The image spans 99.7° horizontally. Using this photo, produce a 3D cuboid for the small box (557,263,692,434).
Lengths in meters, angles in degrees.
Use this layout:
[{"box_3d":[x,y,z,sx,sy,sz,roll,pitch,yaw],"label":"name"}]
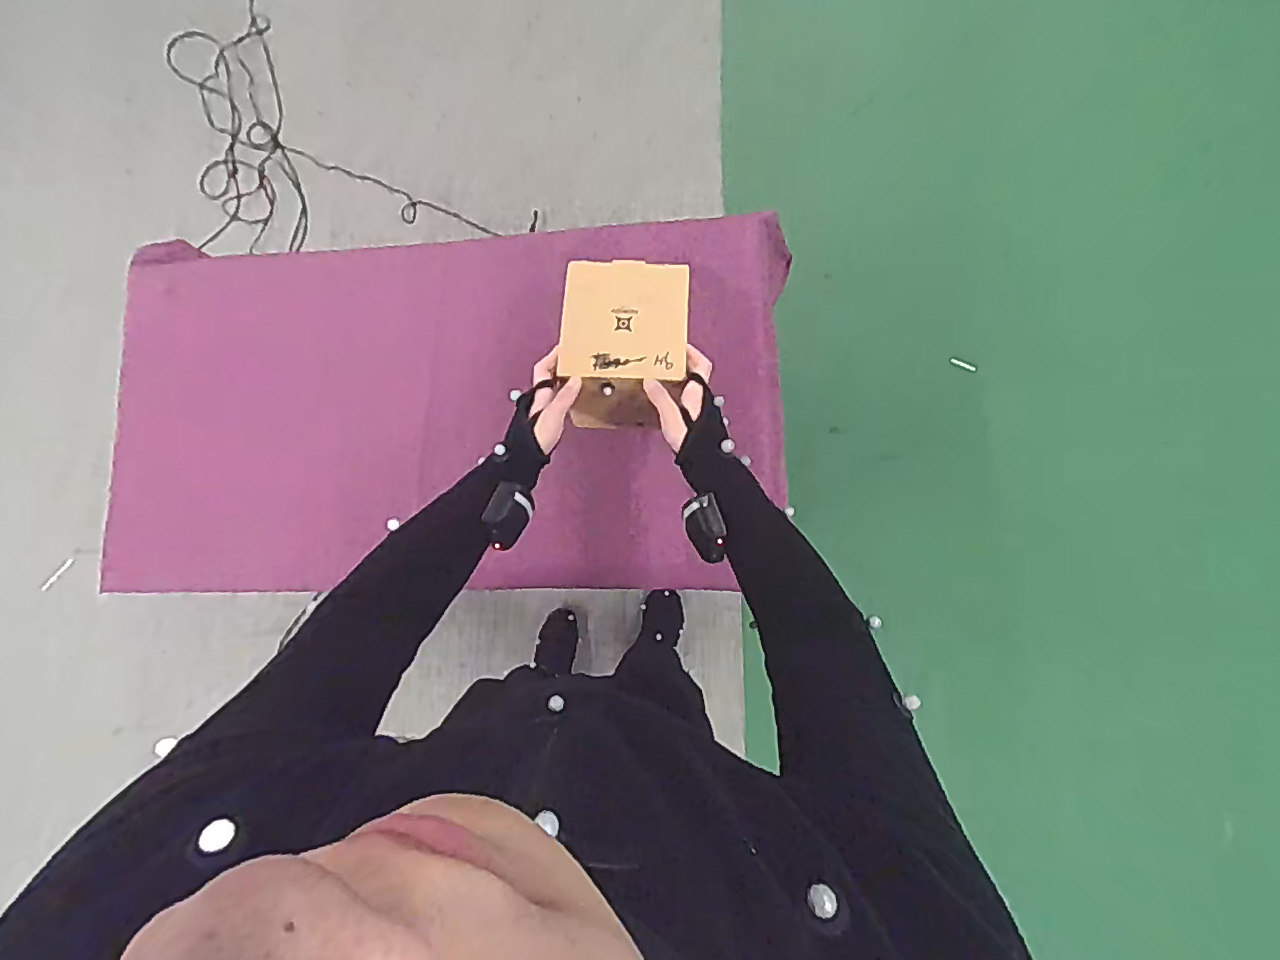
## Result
[{"box_3d":[-0.017,-0.182,0.777,0.168,0.176,0.179,3,74,3],"label":"small box"}]
